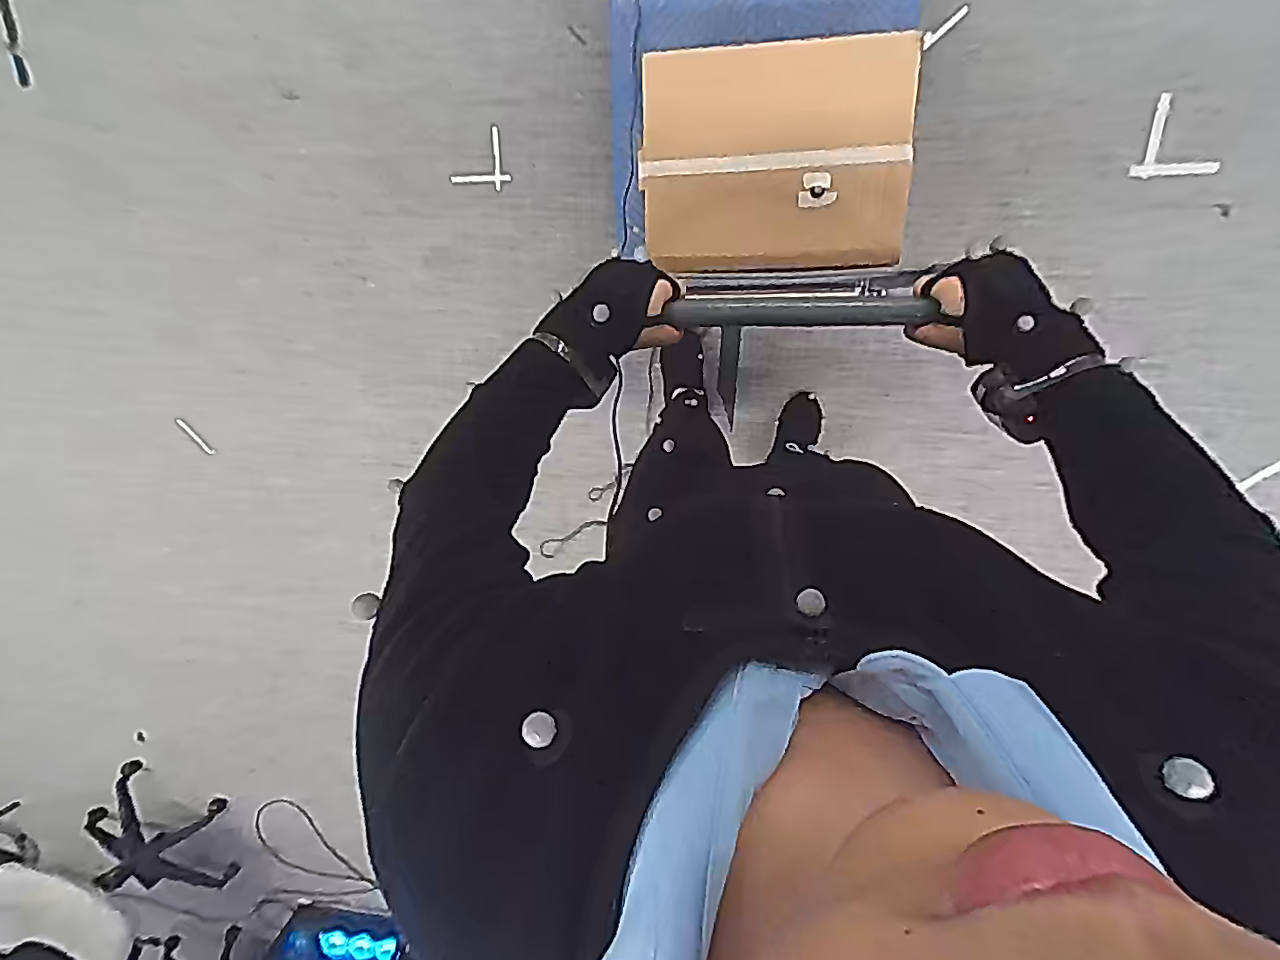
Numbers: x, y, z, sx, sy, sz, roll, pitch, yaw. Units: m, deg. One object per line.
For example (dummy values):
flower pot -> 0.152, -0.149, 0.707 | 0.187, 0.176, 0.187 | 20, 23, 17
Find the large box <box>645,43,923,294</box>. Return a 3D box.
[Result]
large box -> 0.223, -0.511, 0.968 | 0.408, 0.320, 0.320 | 0, 107, 6
